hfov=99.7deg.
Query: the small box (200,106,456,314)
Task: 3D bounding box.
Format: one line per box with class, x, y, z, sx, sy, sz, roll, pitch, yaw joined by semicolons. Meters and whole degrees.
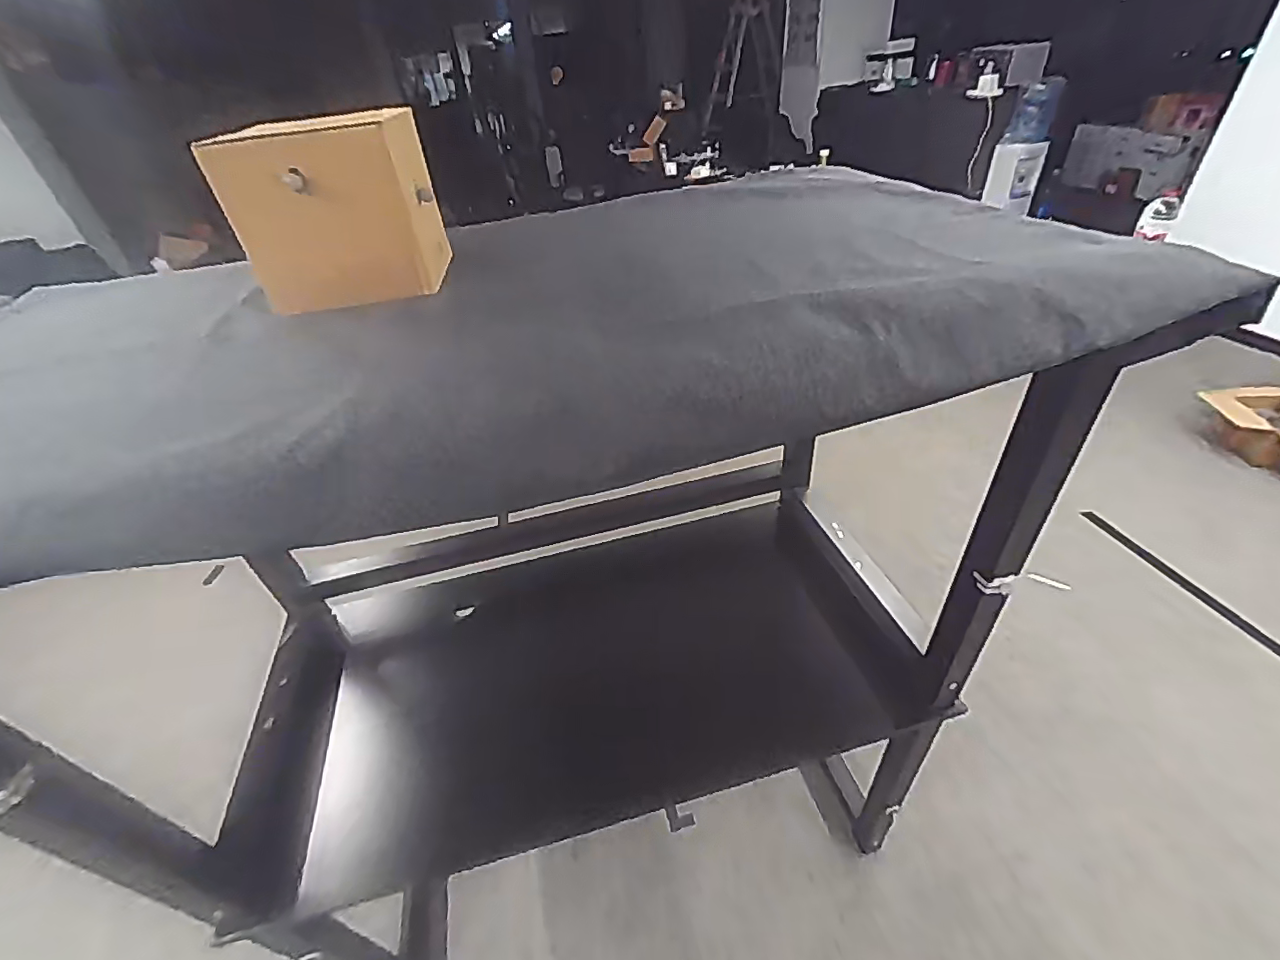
small box;-0.322;-0.305;0.610;0.179;0.176;0.168;-10;39;-3
